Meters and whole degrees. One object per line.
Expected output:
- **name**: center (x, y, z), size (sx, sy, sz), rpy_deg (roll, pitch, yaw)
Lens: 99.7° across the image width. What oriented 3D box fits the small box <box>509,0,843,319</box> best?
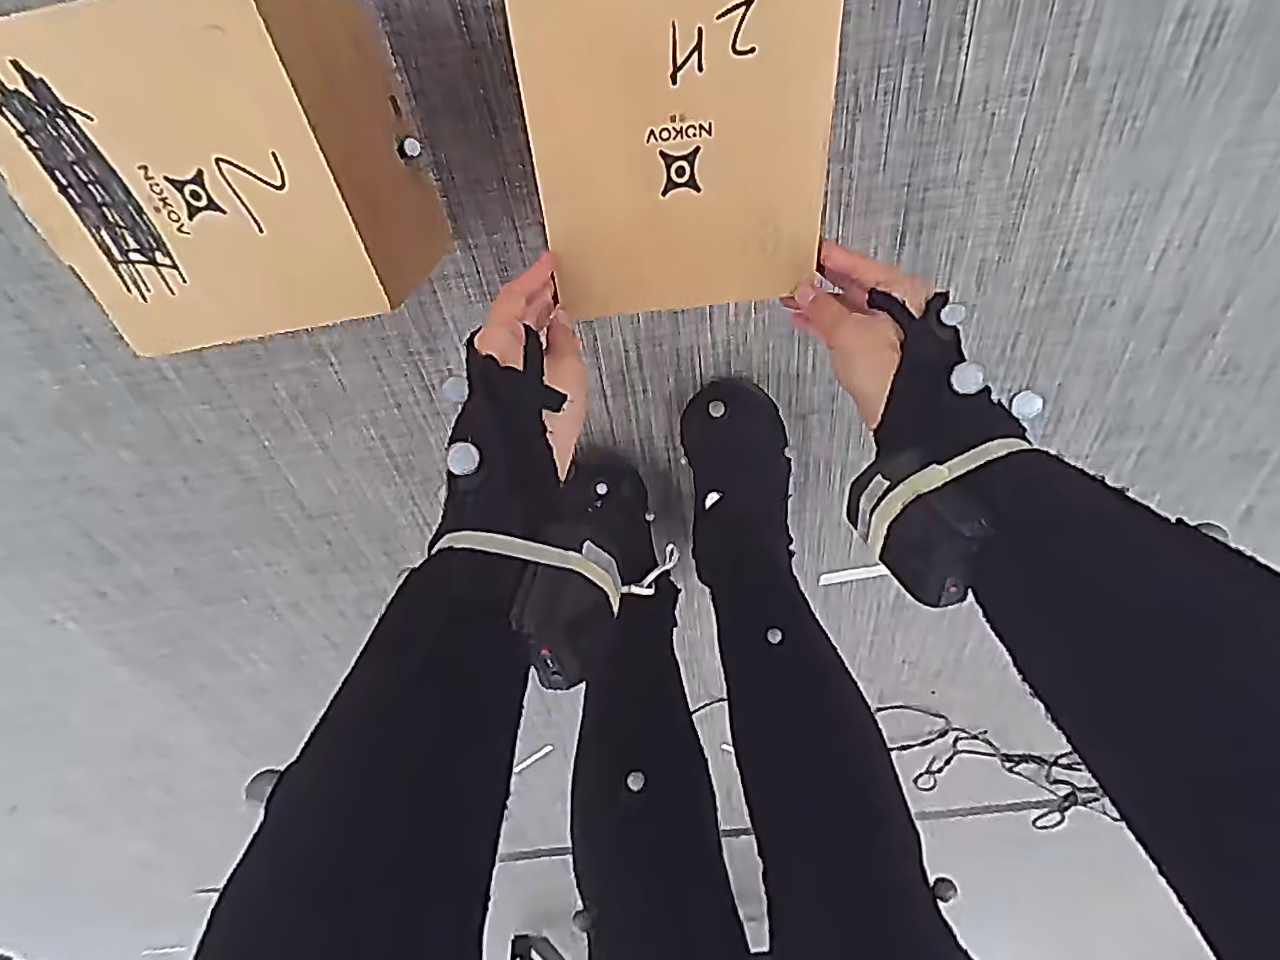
- **small box**: center (0.019, -0.230, 0.366), size (0.168, 0.176, 0.179), rpy_deg (-6, 127, 0)
